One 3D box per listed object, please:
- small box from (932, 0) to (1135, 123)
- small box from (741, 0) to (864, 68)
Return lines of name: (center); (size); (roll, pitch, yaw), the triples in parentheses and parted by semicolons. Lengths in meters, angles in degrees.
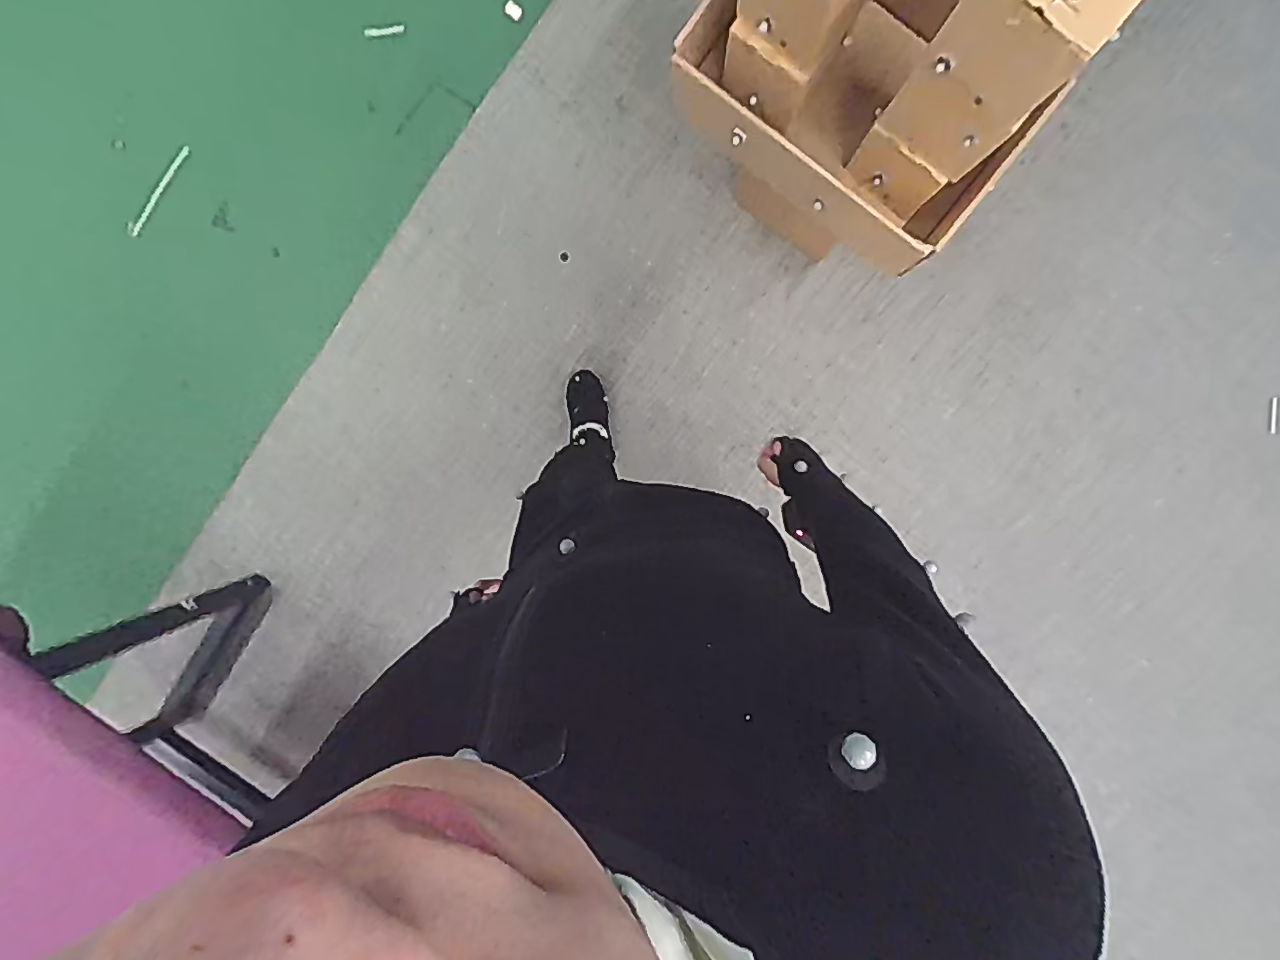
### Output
small box: (0.511, -0.612, 0.688); (0.168, 0.176, 0.179); (40, 96, -2)
small box: (0.277, -0.817, 0.848); (0.168, 0.176, 0.179); (40, 96, 0)
